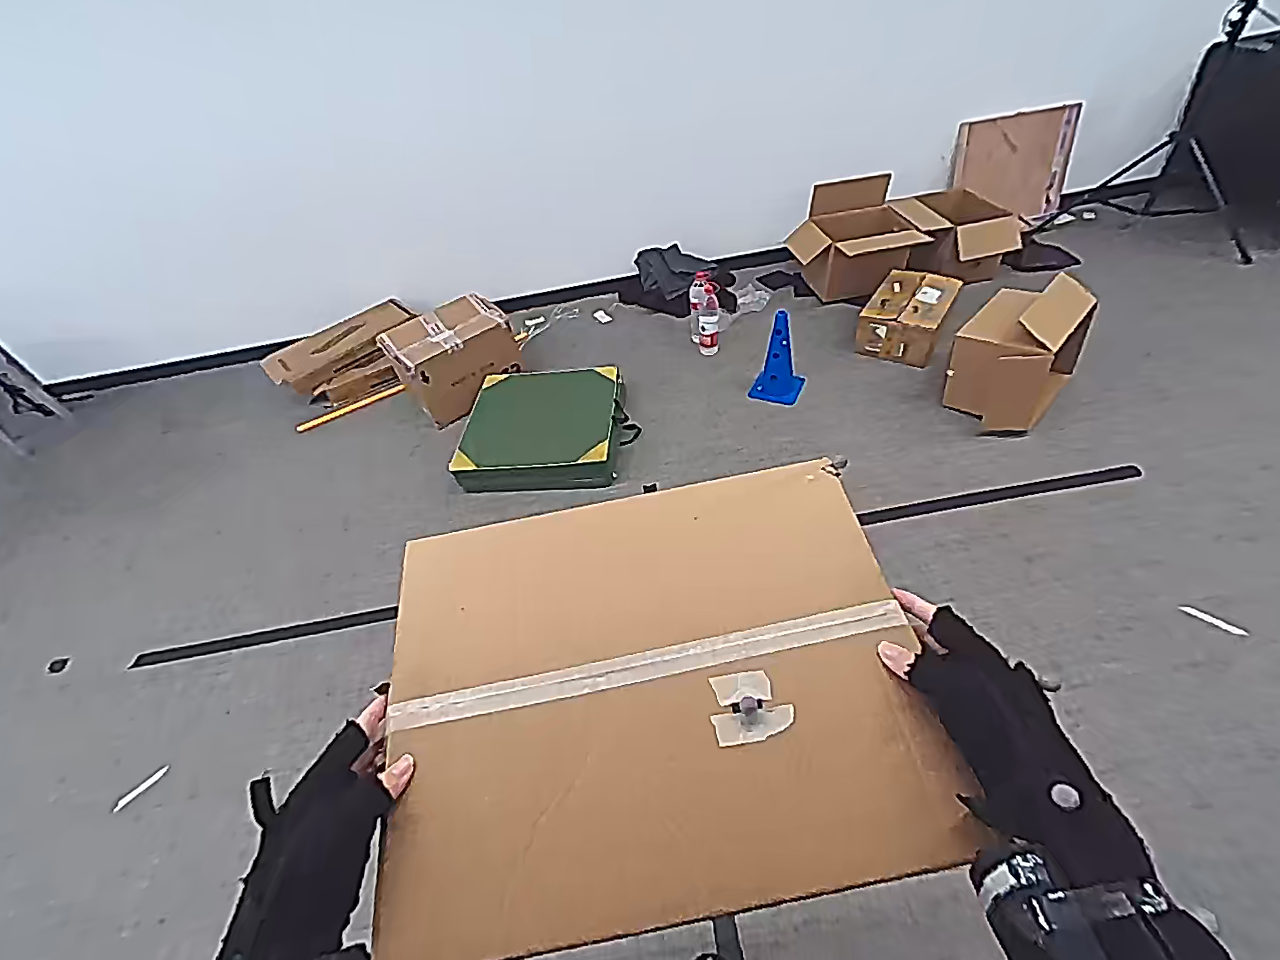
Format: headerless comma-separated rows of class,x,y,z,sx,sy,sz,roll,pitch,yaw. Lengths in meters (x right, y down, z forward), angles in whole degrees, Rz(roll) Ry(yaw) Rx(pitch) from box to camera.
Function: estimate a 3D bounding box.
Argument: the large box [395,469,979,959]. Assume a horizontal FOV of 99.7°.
large box,0.021,0.235,0.558,0.408,0.320,0.320,-11,56,-1
